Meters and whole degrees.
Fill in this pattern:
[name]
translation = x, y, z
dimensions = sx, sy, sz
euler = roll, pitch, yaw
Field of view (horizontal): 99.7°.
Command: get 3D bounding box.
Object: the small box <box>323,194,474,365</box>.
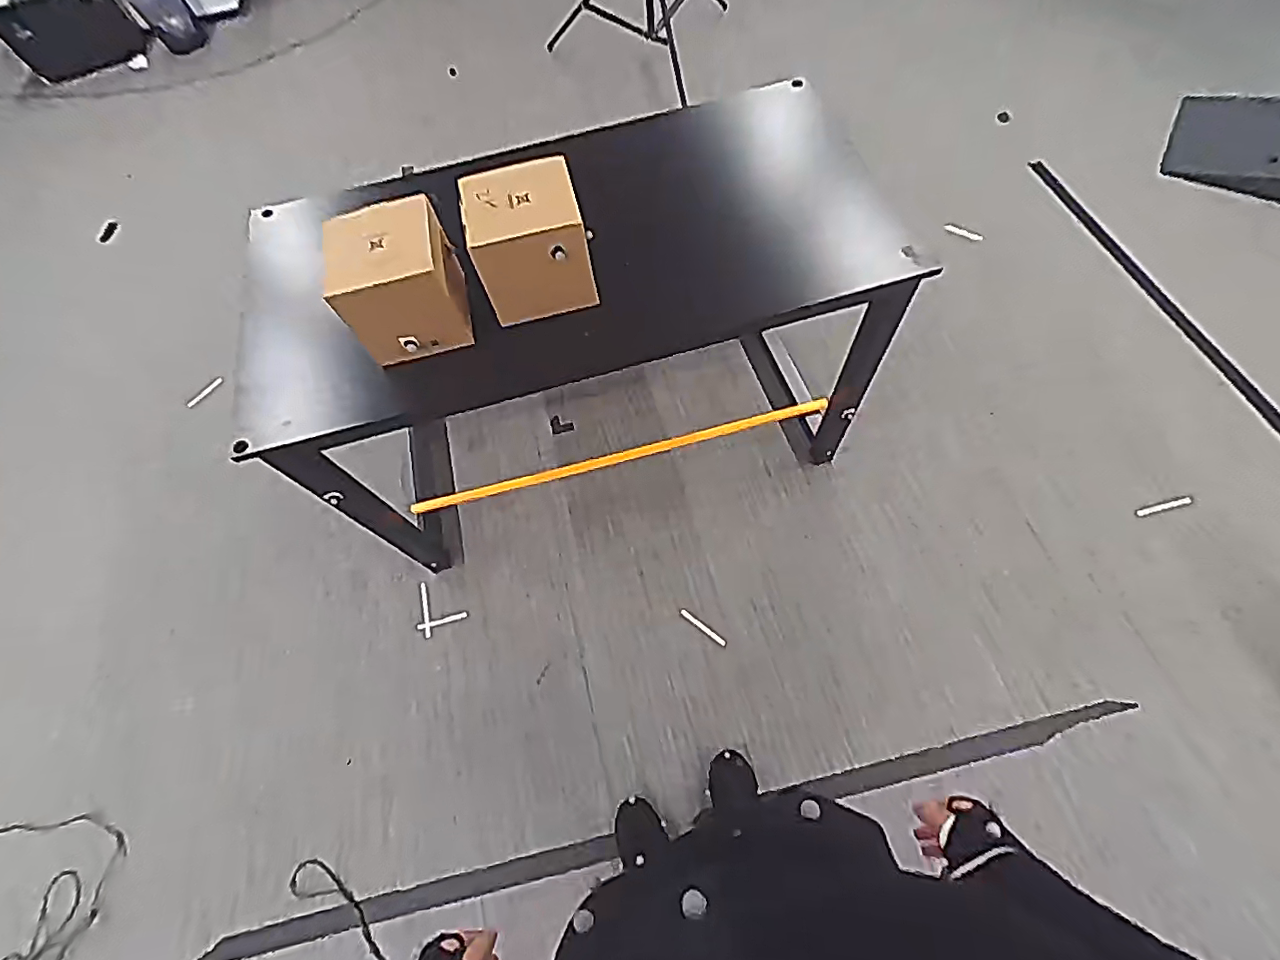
[small box]
translation = -0.385, -0.319, 0.880
dimensions = 0.168, 0.176, 0.179
euler = -16, 65, -1
